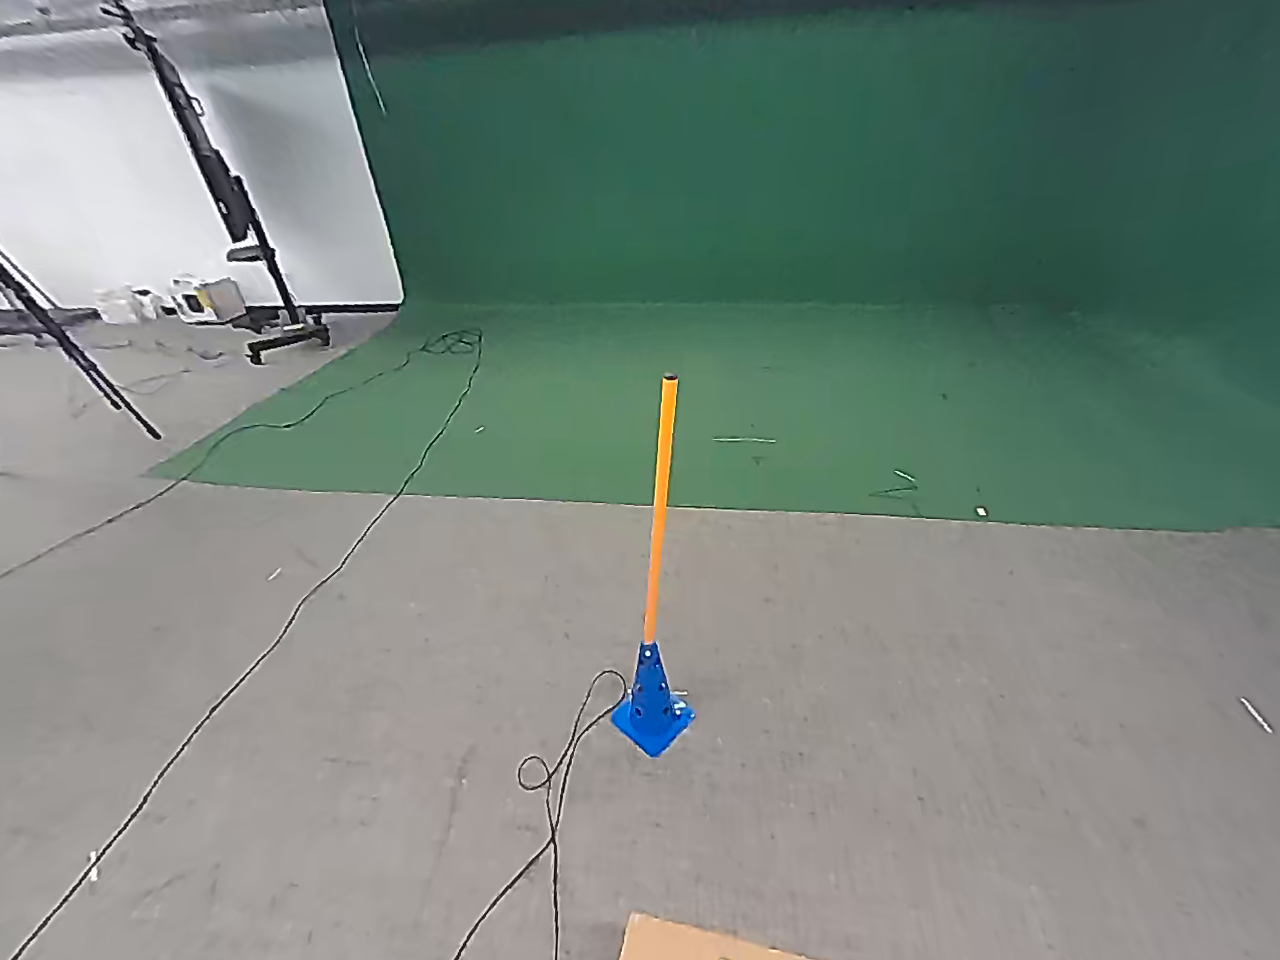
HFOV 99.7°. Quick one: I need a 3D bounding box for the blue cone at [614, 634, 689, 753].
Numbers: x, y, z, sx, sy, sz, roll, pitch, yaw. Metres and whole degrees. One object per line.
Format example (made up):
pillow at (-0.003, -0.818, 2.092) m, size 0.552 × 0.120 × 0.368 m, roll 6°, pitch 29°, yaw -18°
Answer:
blue cone at (0.029, 0.582, 1.570) m, size 0.192 × 0.380 × 0.193 m, roll 25°, pitch 41°, yaw 34°
